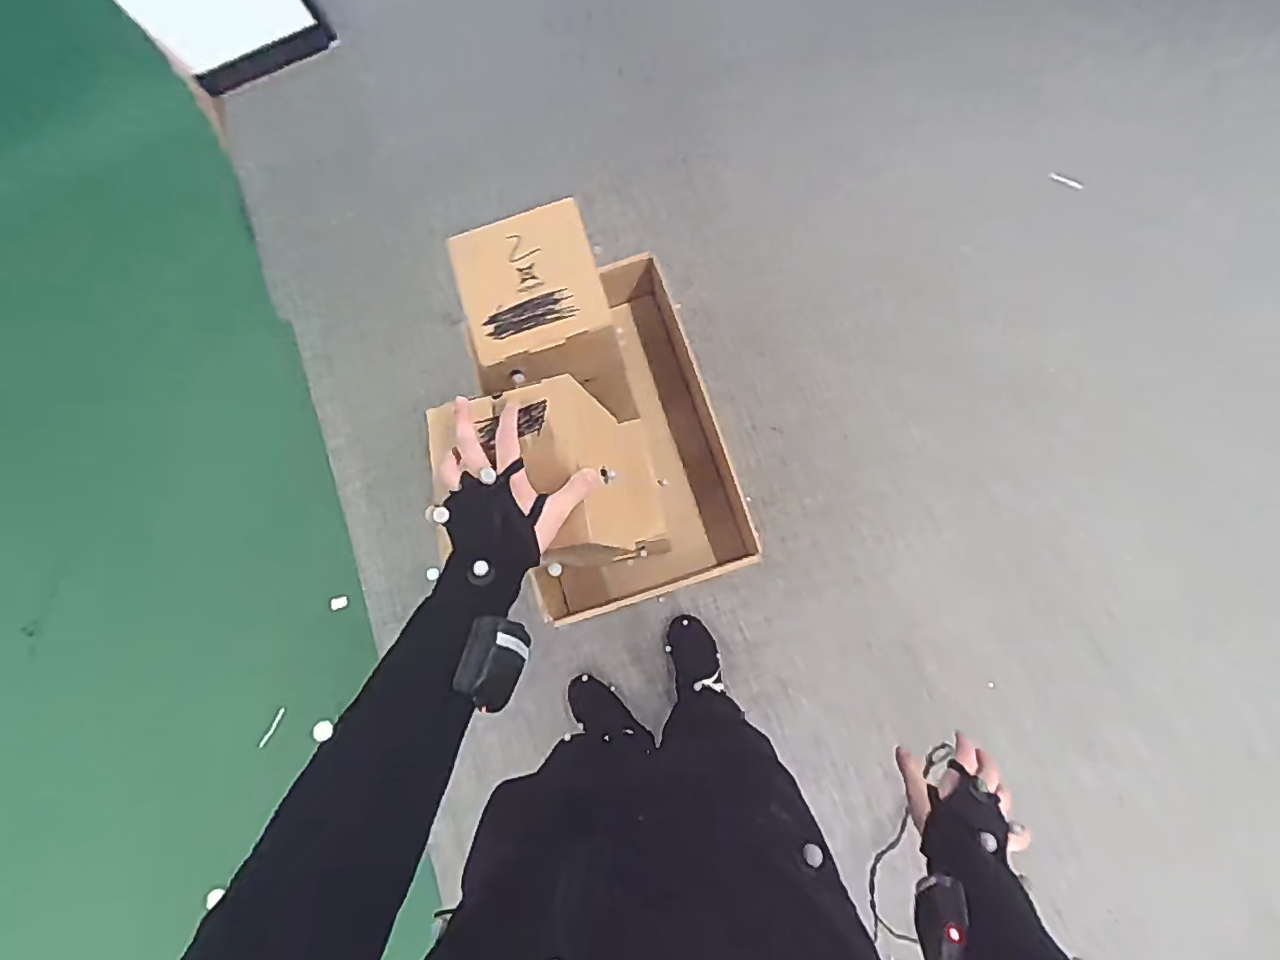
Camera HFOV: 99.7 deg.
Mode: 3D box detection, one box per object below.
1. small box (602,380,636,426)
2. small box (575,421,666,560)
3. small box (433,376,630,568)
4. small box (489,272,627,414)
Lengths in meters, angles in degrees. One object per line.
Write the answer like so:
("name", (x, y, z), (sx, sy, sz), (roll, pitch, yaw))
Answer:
("small box", (-0.114, -0.181, 1.052), (0.168, 0.176, 0.179), (-19, 81, 2))
("small box", (-0.057, 0.027, 0.843), (0.168, 0.176, 0.179), (-13, 79, 2))
("small box", (-0.118, 0.004, 0.633), (0.168, 0.176, 0.179), (-11, 78, 12))
("small box", (-0.126, -0.203, 0.892), (0.168, 0.176, 0.179), (-19, 82, 1))
